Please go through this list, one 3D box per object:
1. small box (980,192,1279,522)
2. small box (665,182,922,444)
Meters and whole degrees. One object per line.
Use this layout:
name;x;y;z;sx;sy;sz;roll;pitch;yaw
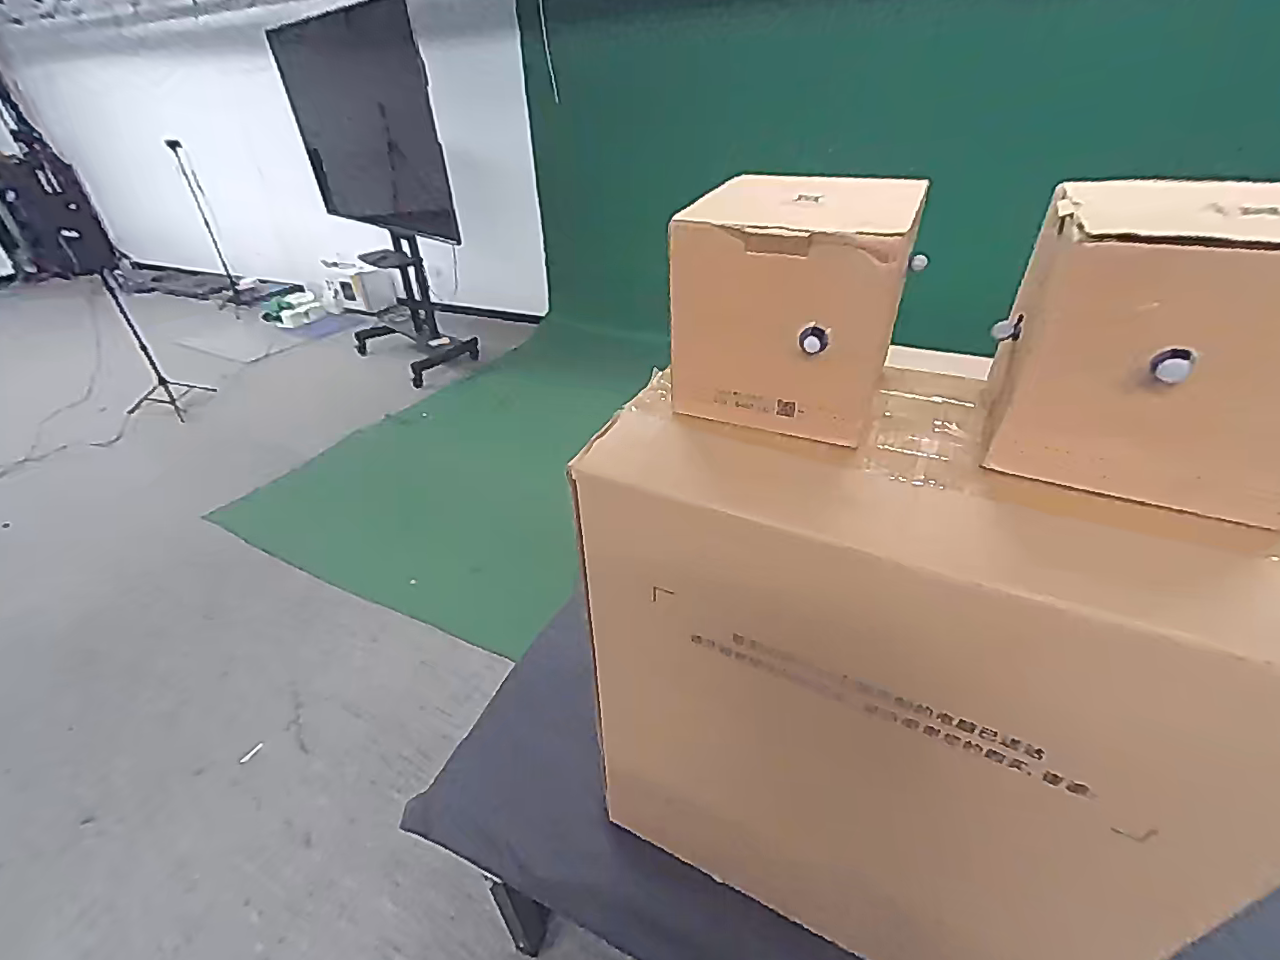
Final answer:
small box;0.362;-0.094;0.382;0.179;0.176;0.168;15;42;24
small box;0.132;-0.154;0.480;0.168;0.176;0.179;16;41;21
